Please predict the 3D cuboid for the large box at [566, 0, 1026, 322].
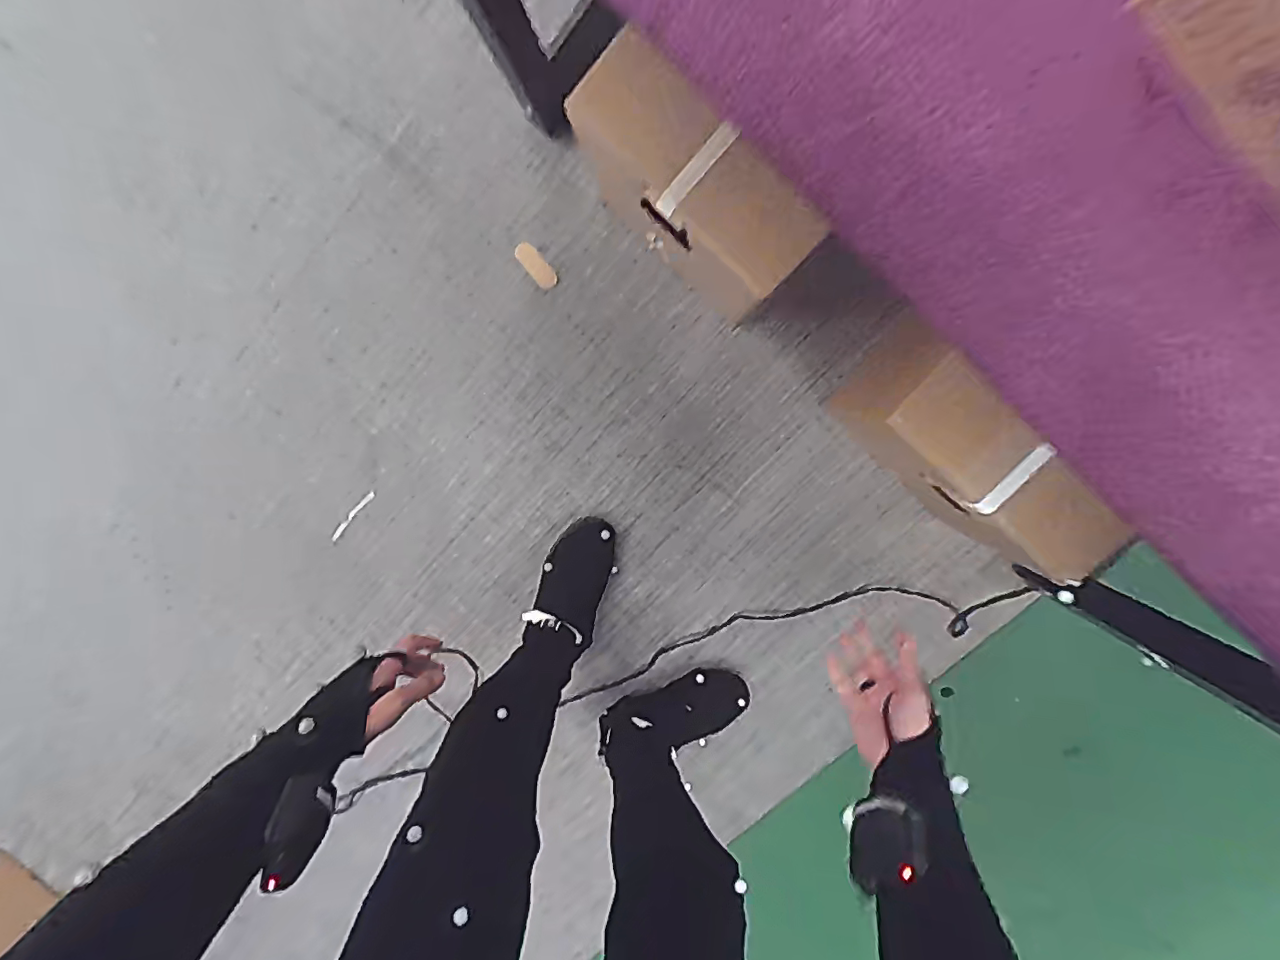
[{"bbox_3d":[0.166,-0.479,0.717,0.320,0.320,0.408,42,99,-5],"label":"large box"}]
